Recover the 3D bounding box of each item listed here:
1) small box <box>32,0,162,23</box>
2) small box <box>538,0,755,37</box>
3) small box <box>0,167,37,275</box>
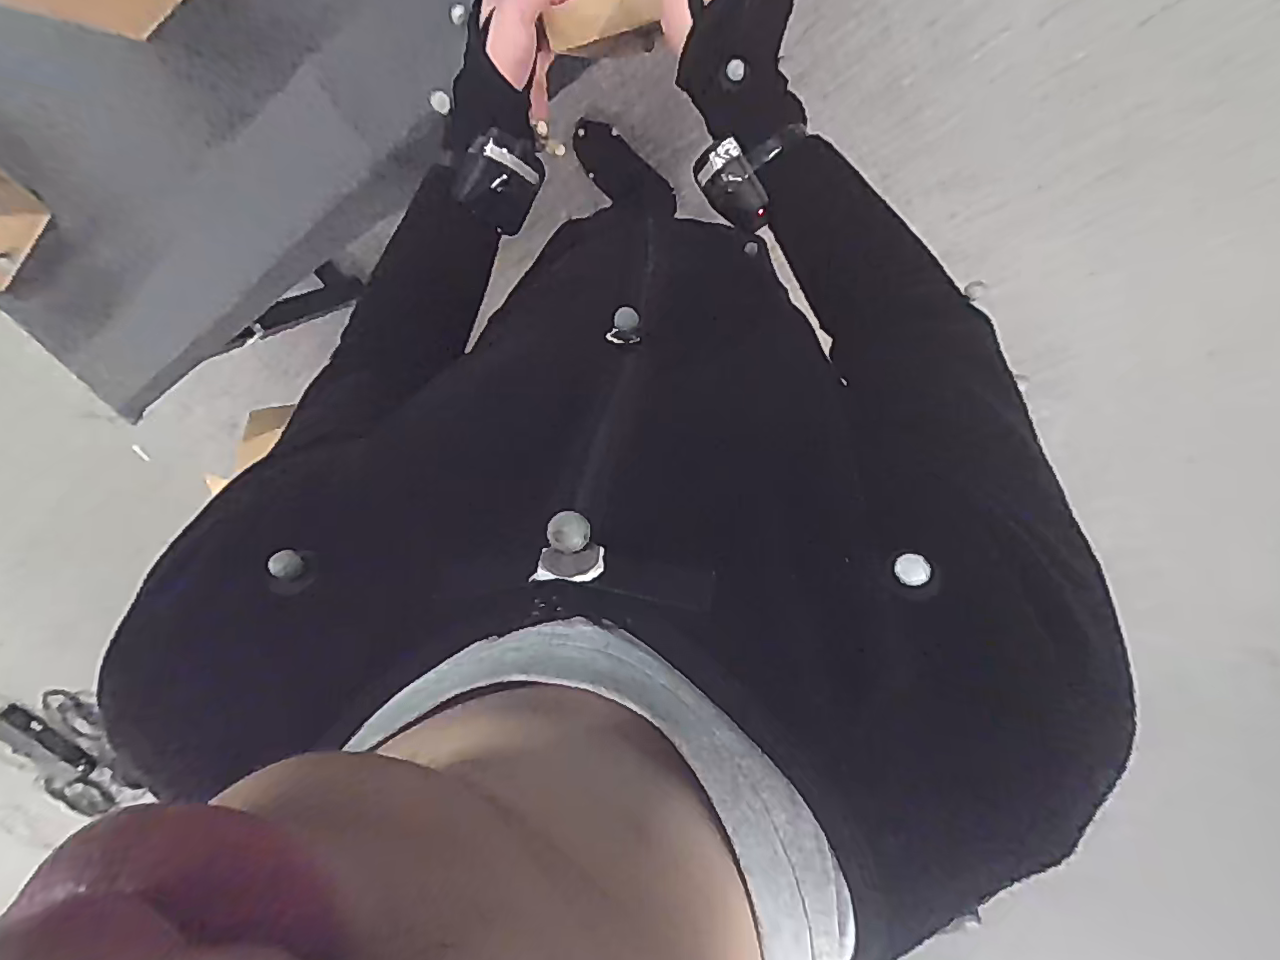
[{"bbox_3d":[-0.549,-0.576,0.495,0.179,0.176,0.168,-24,113,19],"label":"small box"},{"bbox_3d":[0.014,-0.479,0.432,0.179,0.176,0.168,2,126,21],"label":"small box"},{"bbox_3d":[-0.918,-0.349,0.657,0.179,0.176,0.168,-33,111,20],"label":"small box"}]
